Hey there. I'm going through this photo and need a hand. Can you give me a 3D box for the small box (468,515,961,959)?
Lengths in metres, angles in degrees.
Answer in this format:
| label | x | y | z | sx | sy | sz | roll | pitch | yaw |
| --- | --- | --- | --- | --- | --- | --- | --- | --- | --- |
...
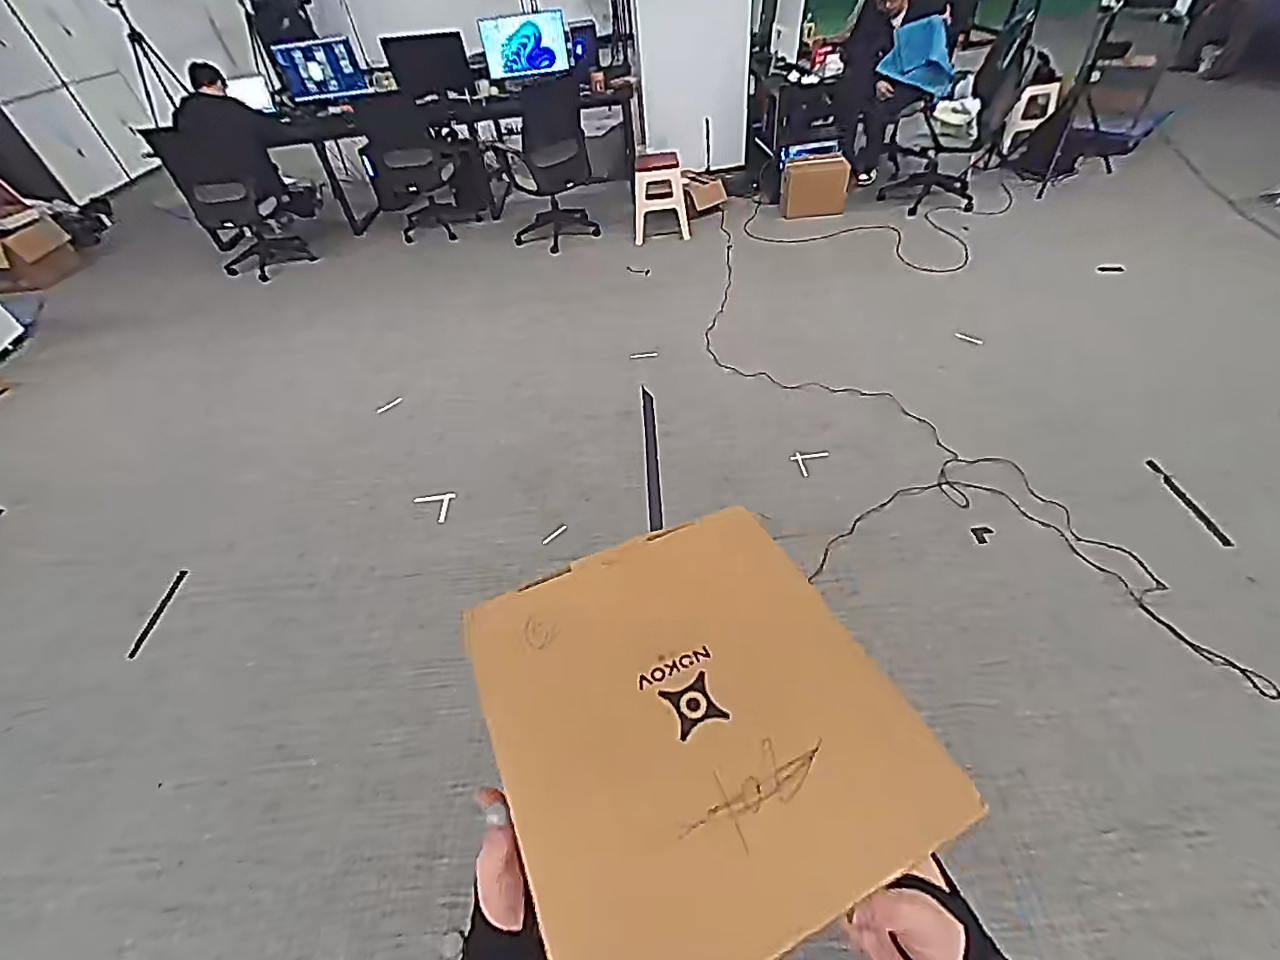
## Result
| label | x | y | z | sx | sy | sz | roll | pitch | yaw |
| --- | --- | --- | --- | --- | --- | --- | --- | --- | --- |
| small box | 0.021 | 0.156 | 0.304 | 0.168 | 0.176 | 0.179 | -21 | 50 | -18 |
